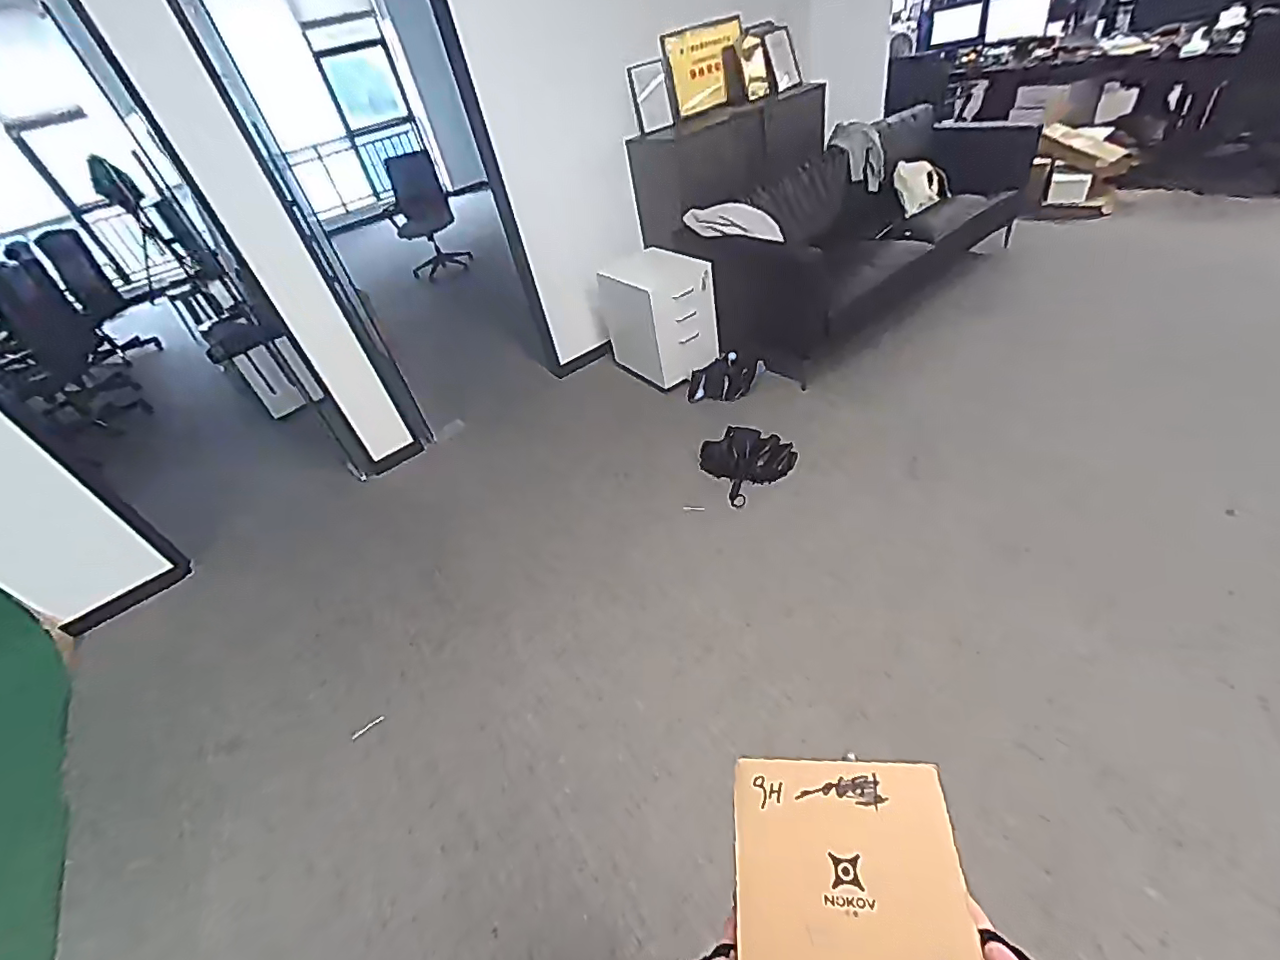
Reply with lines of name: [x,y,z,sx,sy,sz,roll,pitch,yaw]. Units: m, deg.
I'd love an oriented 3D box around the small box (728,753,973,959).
small box: [0.166,0.353,0.461,0.168,0.176,0.179,-4,48,12]
